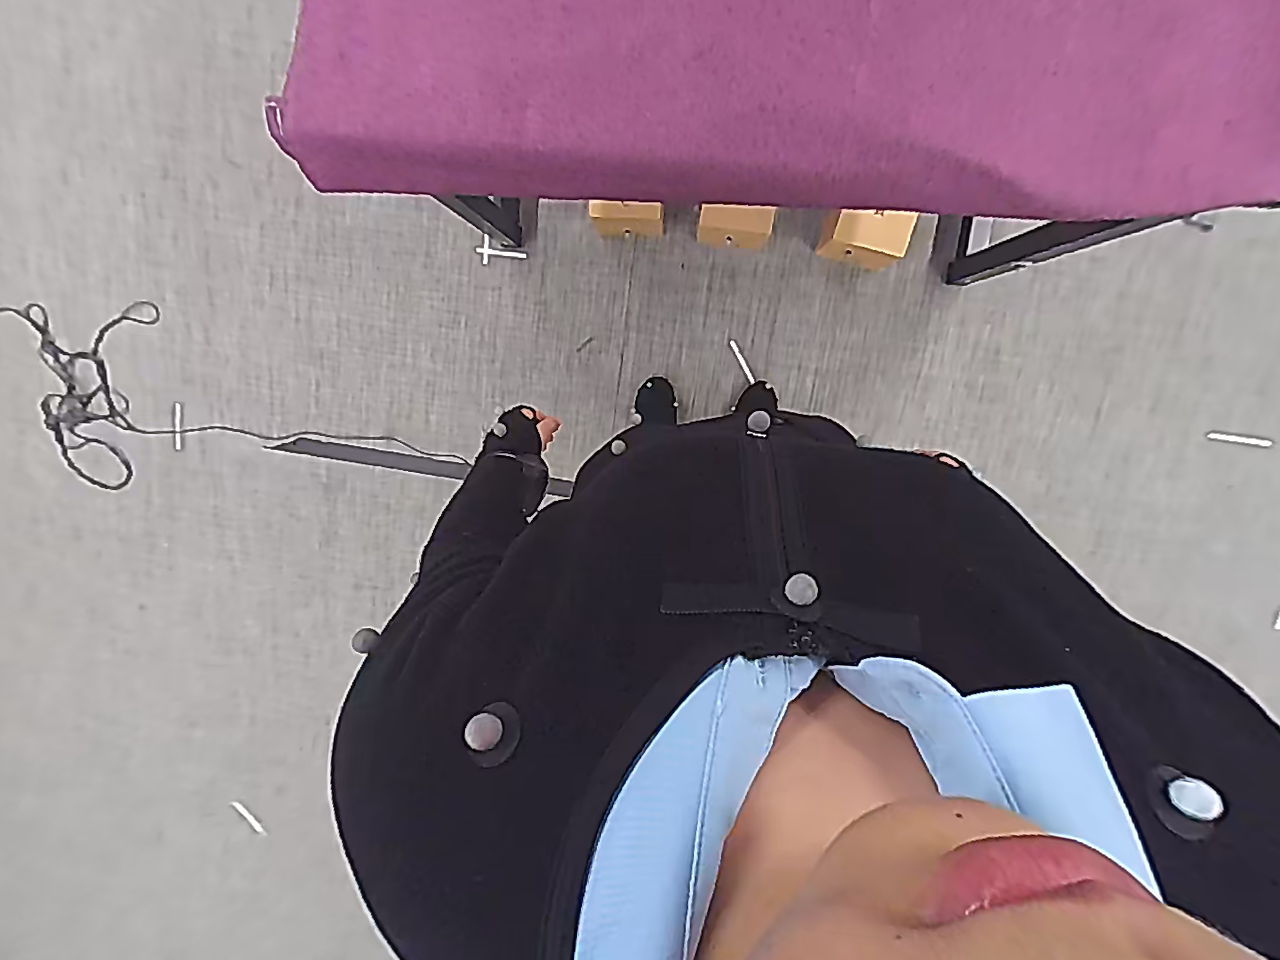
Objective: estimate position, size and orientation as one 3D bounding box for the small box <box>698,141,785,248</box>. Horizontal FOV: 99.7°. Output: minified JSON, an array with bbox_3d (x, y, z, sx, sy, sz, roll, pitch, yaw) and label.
[{"bbox_3d":[0.232,-0.665,1.280,0.168,0.176,0.179,9,101,2],"label":"small box"}]

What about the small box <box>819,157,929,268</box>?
[{"bbox_3d":[0.536,-0.616,1.271,0.168,0.176,0.179,16,101,1],"label":"small box"}]
